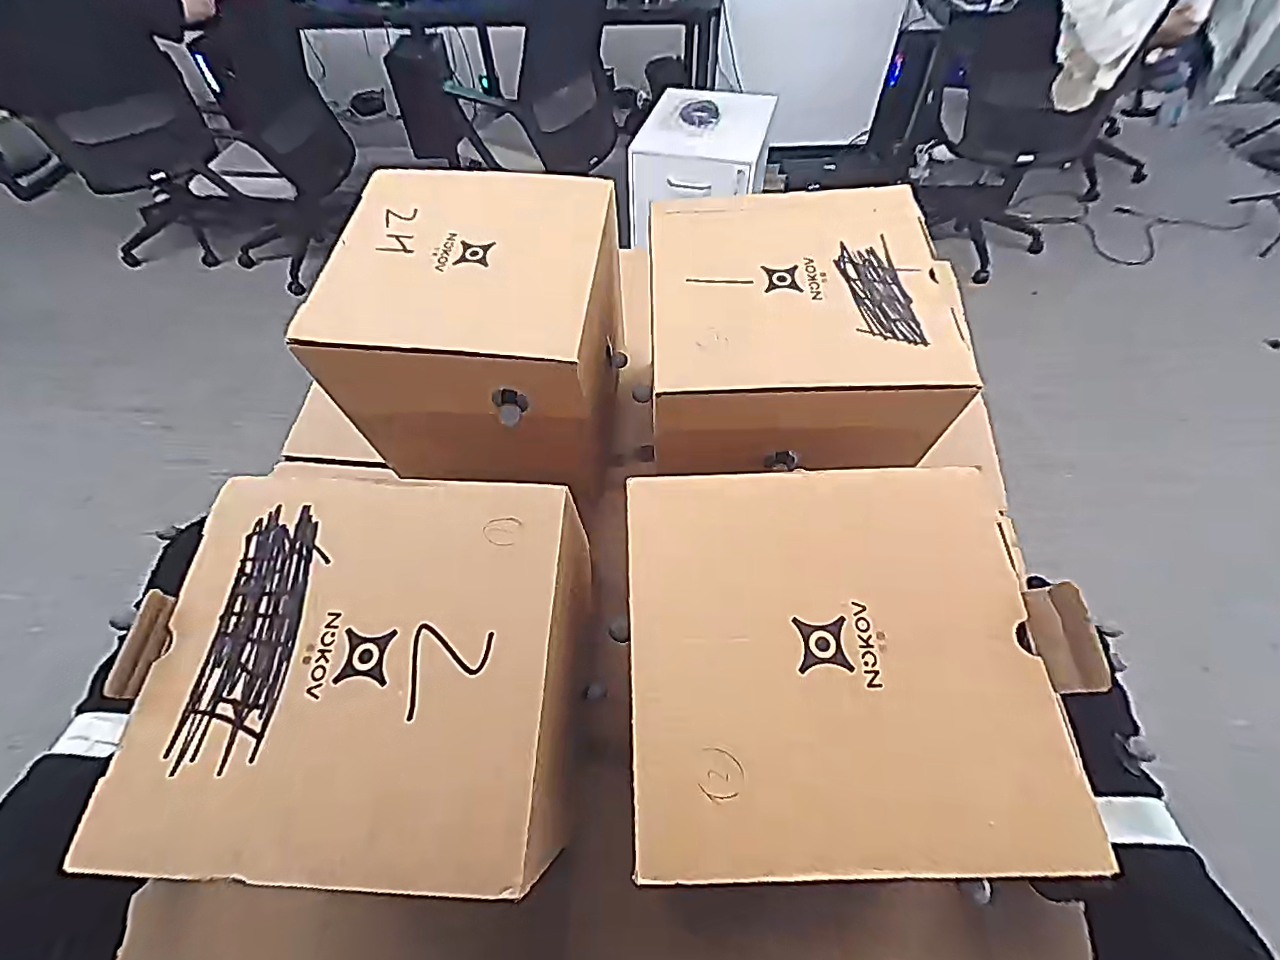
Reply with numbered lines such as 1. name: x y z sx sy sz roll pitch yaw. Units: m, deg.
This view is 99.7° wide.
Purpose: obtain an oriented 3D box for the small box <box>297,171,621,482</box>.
1. small box: -0.113 -0.111 0.430 0.179 0.176 0.168 5 61 5
